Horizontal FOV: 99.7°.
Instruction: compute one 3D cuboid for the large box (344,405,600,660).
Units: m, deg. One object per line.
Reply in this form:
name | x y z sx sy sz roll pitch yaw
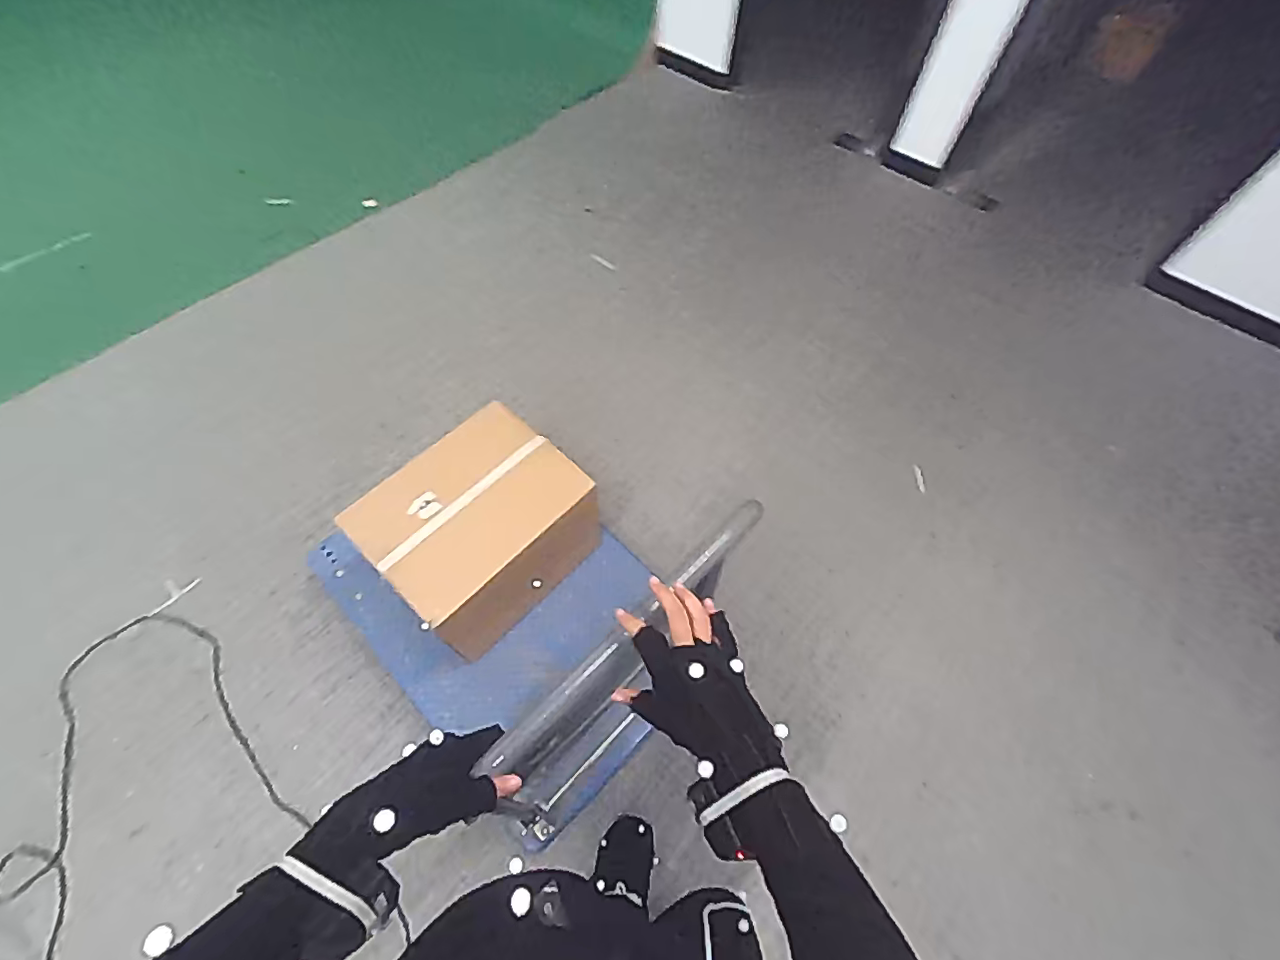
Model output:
large box | -0.334 0.121 1.199 0.320 0.320 0.408 39 67 19
